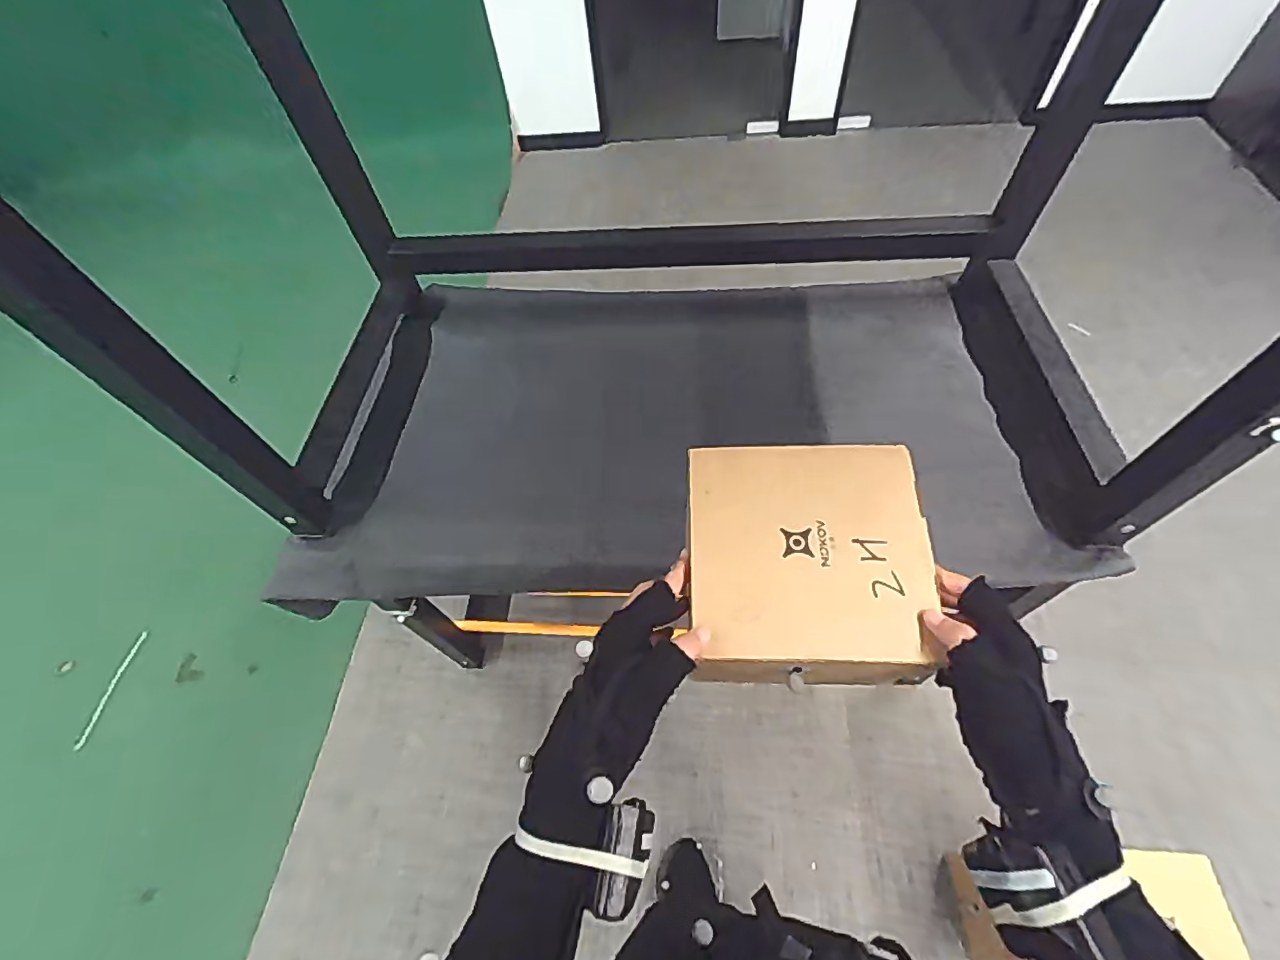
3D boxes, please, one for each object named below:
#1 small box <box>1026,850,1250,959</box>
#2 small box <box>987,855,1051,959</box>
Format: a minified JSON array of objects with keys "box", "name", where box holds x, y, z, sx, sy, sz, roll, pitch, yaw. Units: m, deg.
[{"box":[0.690,0.633,0.761,0.168,0.176,0.179,0,57,6],"name":"small box"},{"box":[0.717,0.728,0.891,0.168,0.176,0.179,-2,55,4],"name":"small box"}]
